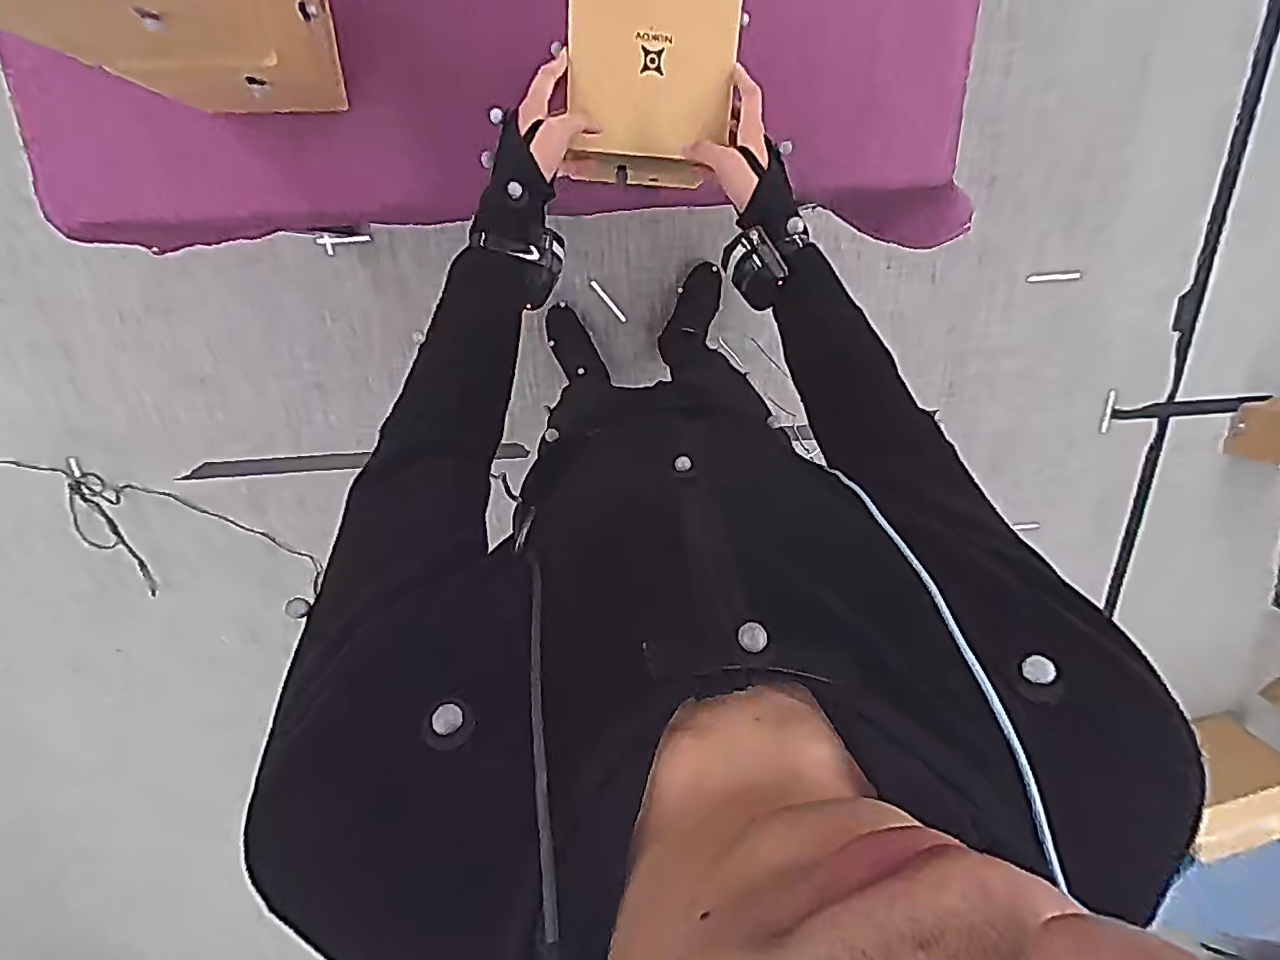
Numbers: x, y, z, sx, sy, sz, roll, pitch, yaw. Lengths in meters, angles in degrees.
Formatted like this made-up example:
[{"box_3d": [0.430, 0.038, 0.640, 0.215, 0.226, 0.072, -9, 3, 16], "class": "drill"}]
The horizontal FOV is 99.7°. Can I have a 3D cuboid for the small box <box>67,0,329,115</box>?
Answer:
[{"box_3d": [-0.464, -0.512, 0.582, 0.179, 0.176, 0.168, -3, 111, -3], "class": "small box"}]

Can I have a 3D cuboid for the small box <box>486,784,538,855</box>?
[{"box_3d": [-0.490, 1.303, 2.086, 0.168, 0.176, 0.179, -1, 112, -3], "class": "small box"}]

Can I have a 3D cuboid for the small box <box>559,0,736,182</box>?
[{"box_3d": [0.000, -0.438, 0.589, 0.168, 0.176, 0.179, 1, 109, -6], "class": "small box"}]
